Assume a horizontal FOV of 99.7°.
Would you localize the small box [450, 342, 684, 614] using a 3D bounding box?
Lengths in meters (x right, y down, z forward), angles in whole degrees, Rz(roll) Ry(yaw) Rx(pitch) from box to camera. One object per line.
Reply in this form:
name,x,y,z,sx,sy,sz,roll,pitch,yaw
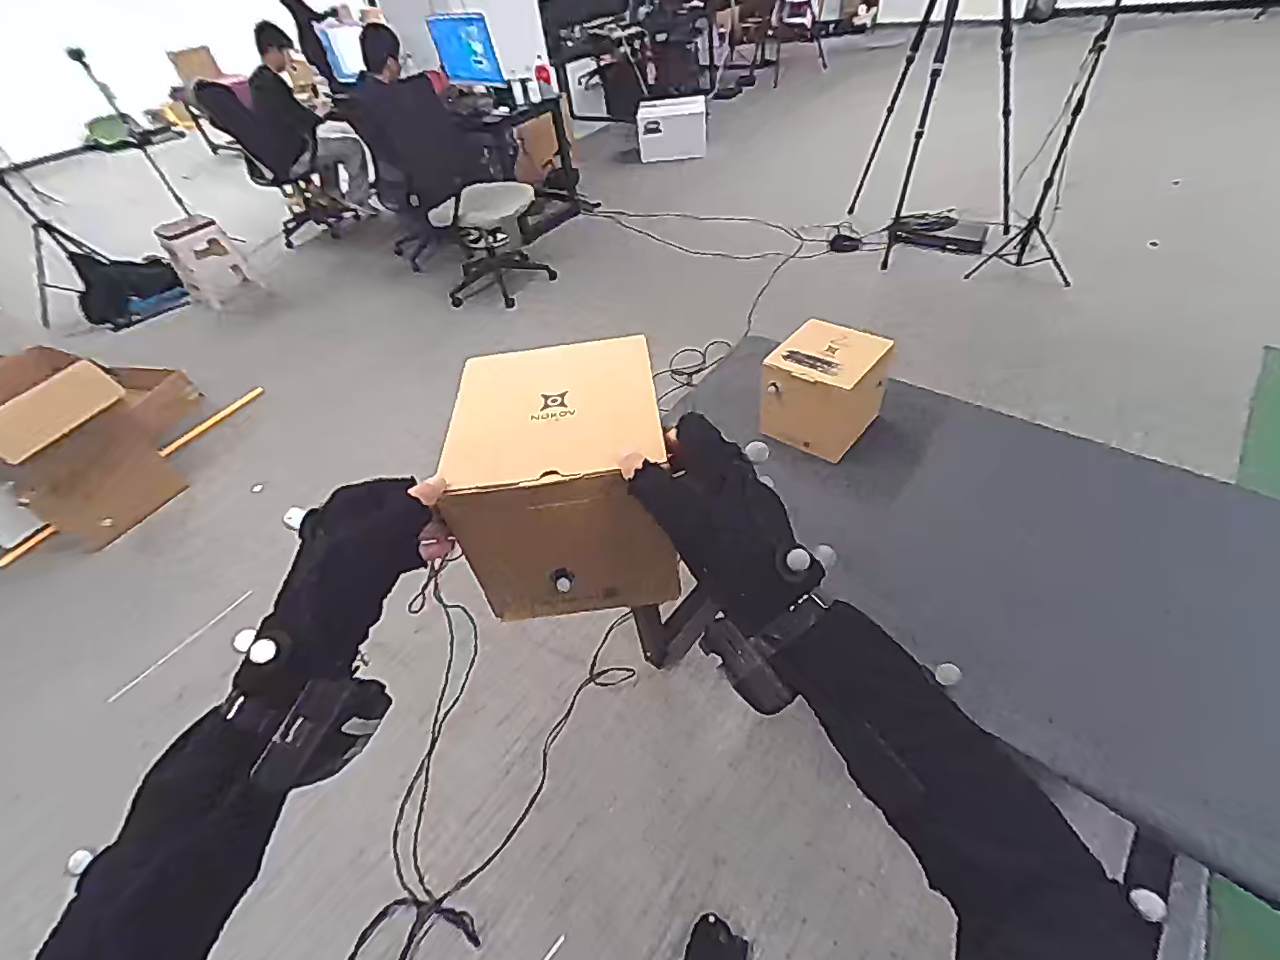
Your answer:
small box,-0.053,-0.002,0.497,0.168,0.176,0.179,-7,45,1
